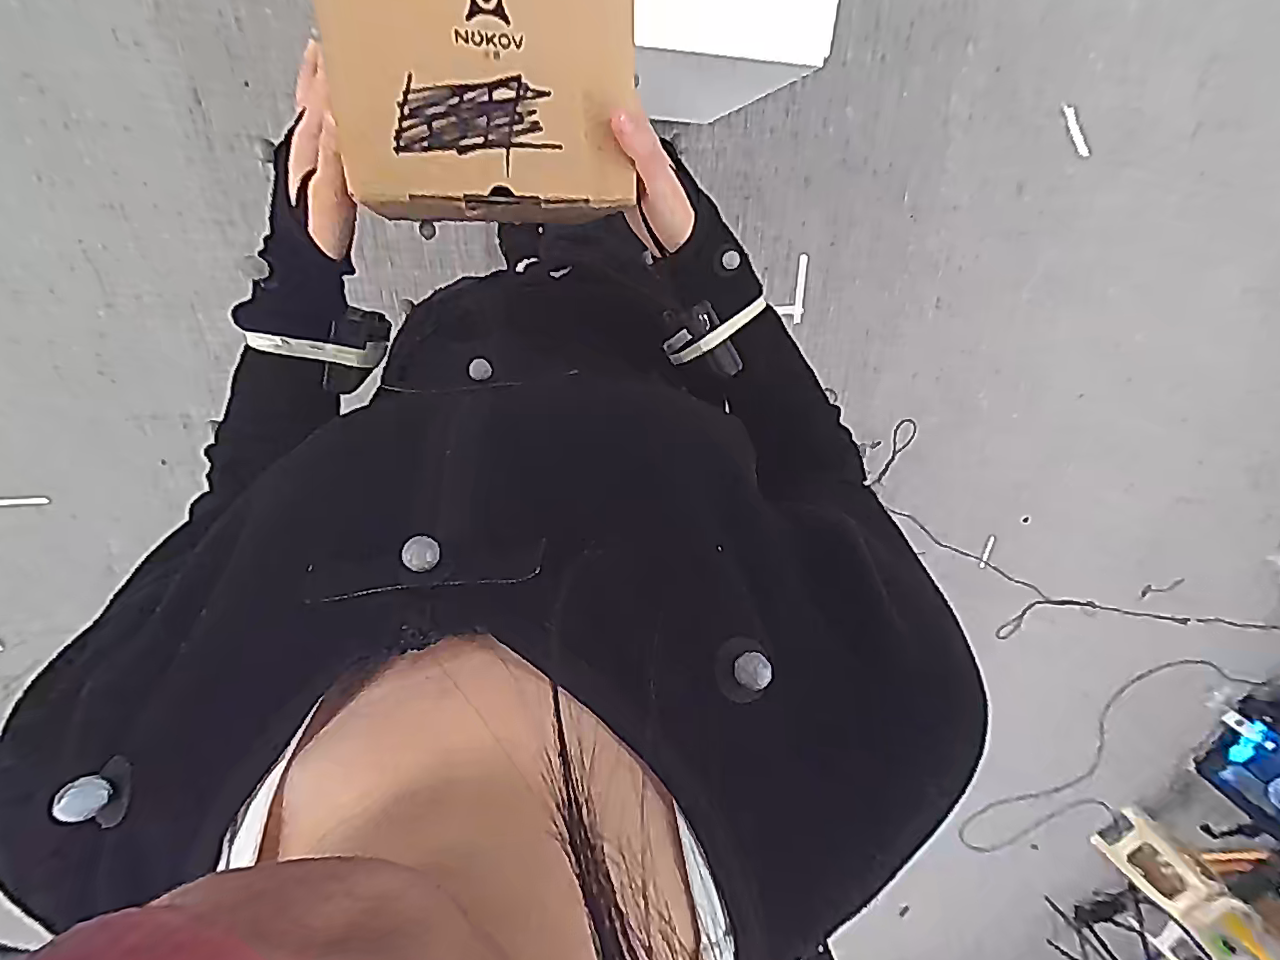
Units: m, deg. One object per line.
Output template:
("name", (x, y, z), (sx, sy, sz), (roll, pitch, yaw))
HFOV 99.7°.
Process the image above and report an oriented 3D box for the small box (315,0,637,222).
("small box", (-0.103, -0.271, 0.354), (0.168, 0.176, 0.179), (-7, 111, -16))
